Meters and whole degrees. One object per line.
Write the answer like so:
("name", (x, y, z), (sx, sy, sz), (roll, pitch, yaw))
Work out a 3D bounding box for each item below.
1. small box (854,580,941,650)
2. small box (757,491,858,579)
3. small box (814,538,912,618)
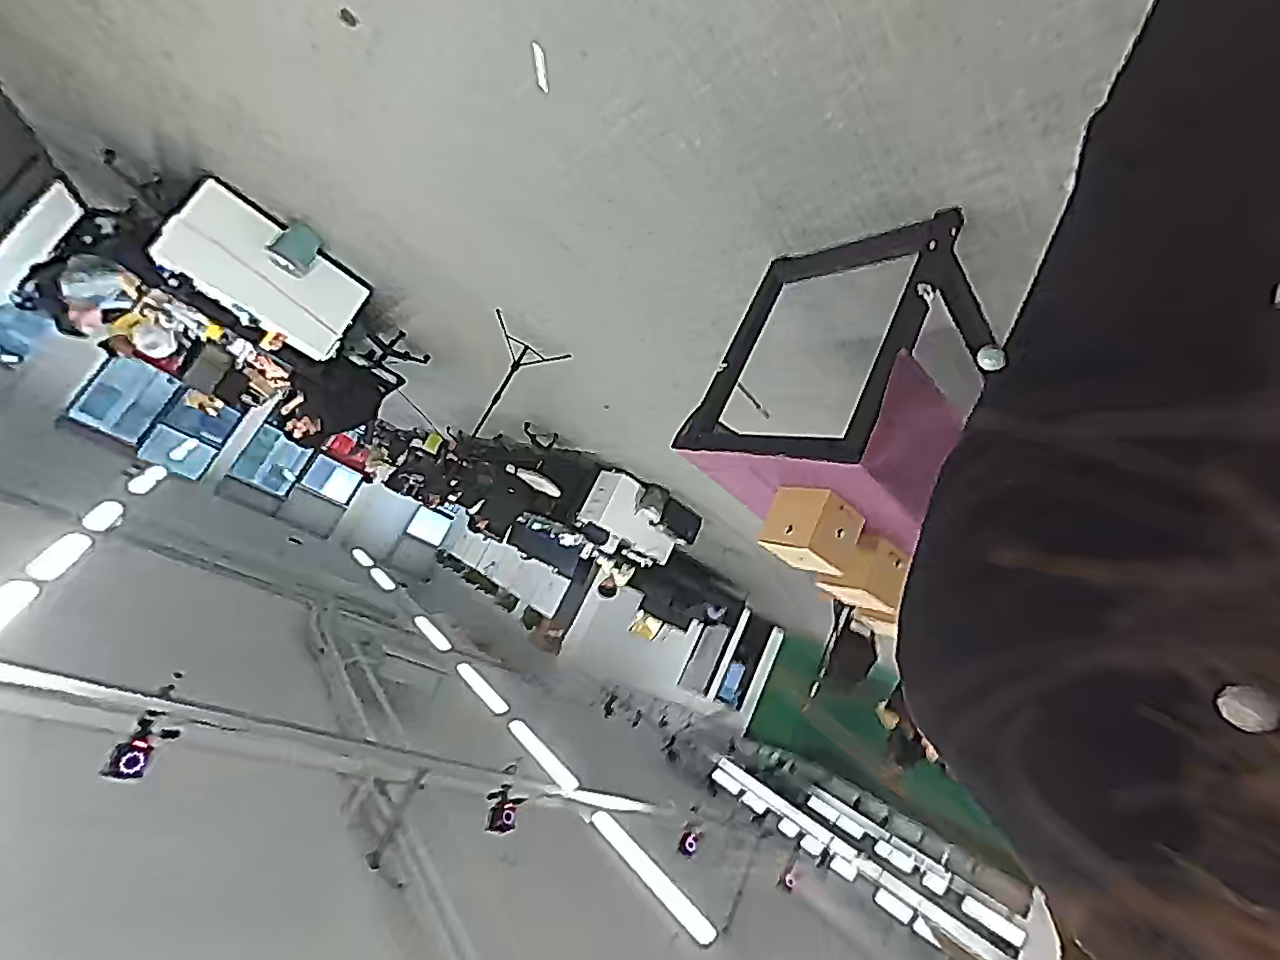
("small box", (0.839, 0.421, 1.755), (0.168, 0.176, 0.179), (35, 164, -31))
("small box", (0.449, 0.140, 1.428), (0.168, 0.176, 0.179), (34, 165, -28))
("small box", (0.647, 0.274, 1.567), (0.168, 0.176, 0.179), (32, 166, -25))
